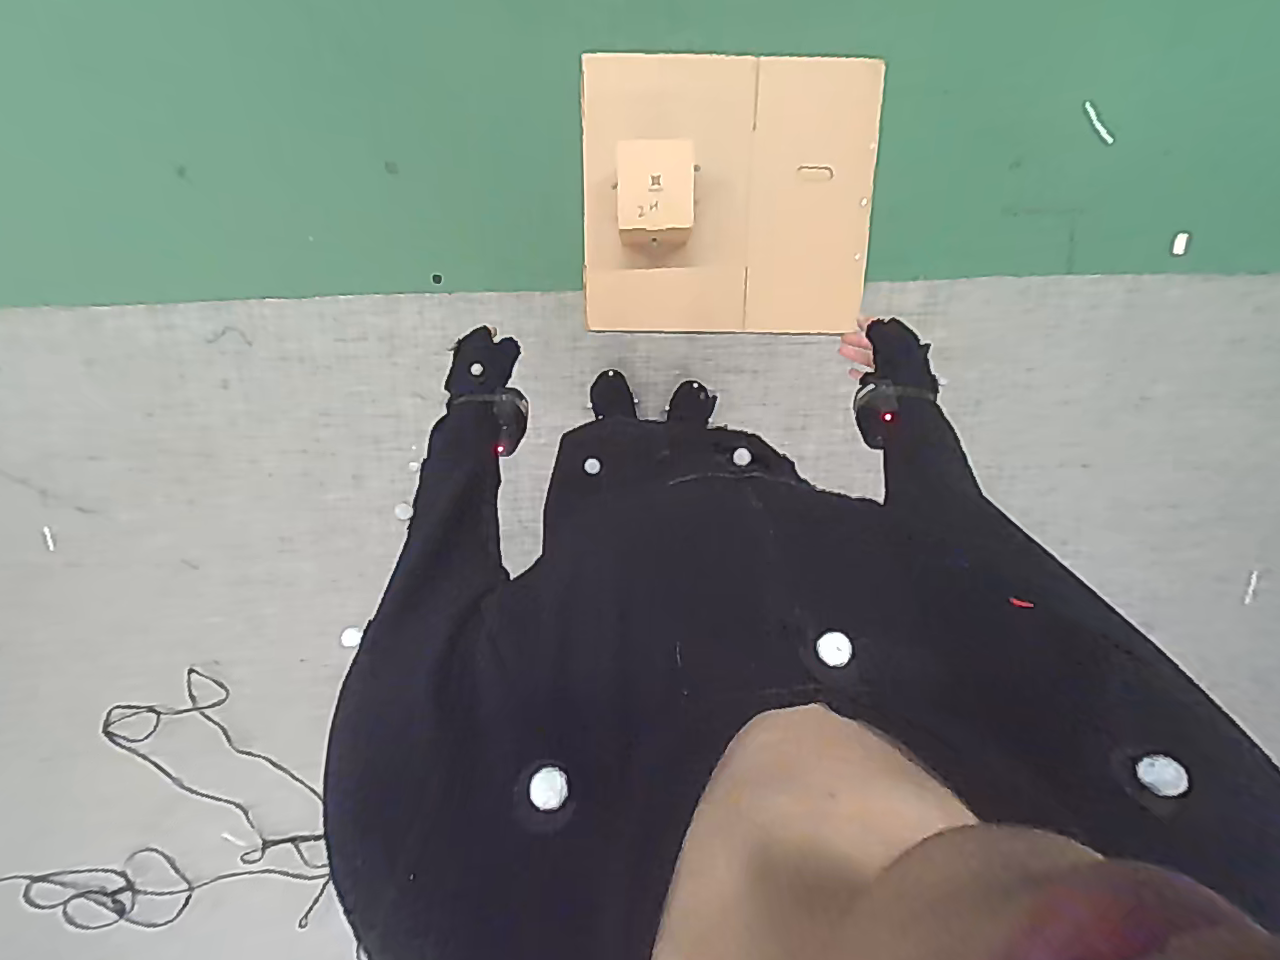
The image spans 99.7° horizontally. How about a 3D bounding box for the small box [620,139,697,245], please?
[{"bbox_3d":[0.039,-0.641,1.220,0.168,0.176,0.179,-1,104,1],"label":"small box"}]
